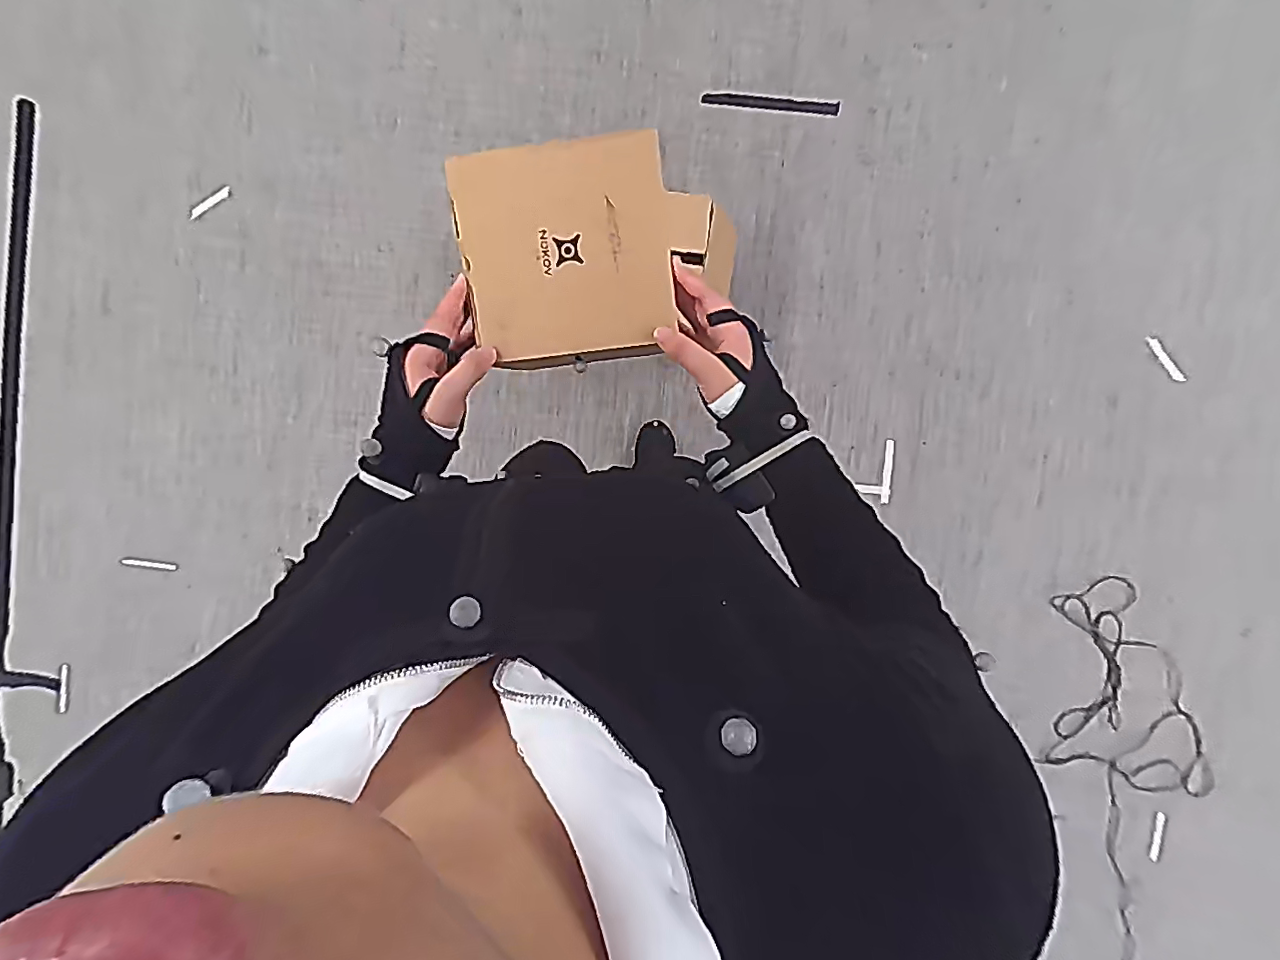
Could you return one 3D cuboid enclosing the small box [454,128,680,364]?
[{"bbox_3d":[-0.057,-0.209,0.534,0.179,0.176,0.168,-7,100,3],"label":"small box"}]
